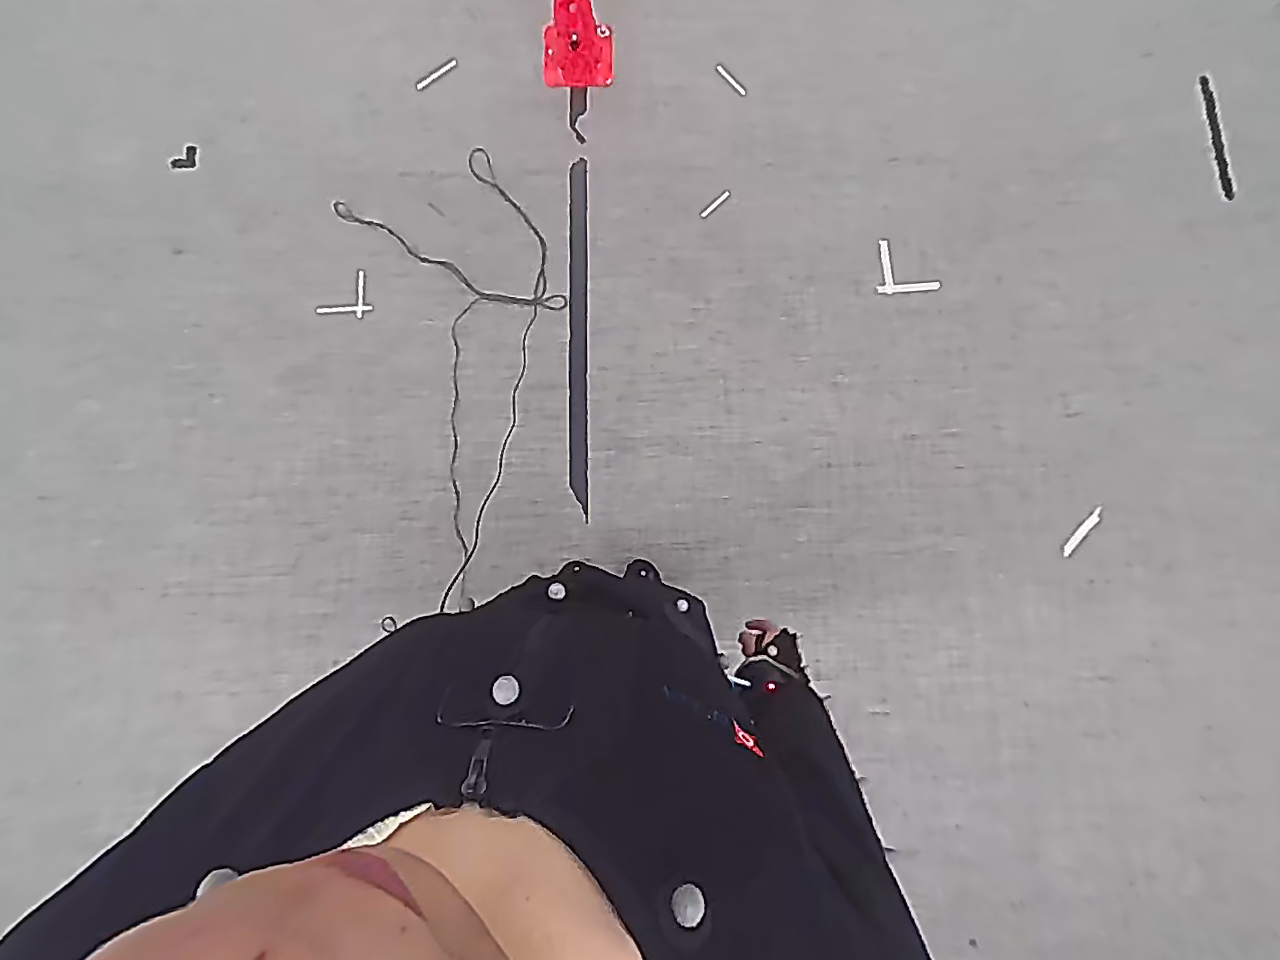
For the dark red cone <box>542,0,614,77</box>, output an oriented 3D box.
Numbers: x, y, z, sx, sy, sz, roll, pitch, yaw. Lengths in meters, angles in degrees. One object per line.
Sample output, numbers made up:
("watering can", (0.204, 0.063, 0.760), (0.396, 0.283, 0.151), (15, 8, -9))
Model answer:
("dark red cone", (-0.180, -1.268, 1.381), (0.201, 0.394, 0.202), (-2, 83, 1))
